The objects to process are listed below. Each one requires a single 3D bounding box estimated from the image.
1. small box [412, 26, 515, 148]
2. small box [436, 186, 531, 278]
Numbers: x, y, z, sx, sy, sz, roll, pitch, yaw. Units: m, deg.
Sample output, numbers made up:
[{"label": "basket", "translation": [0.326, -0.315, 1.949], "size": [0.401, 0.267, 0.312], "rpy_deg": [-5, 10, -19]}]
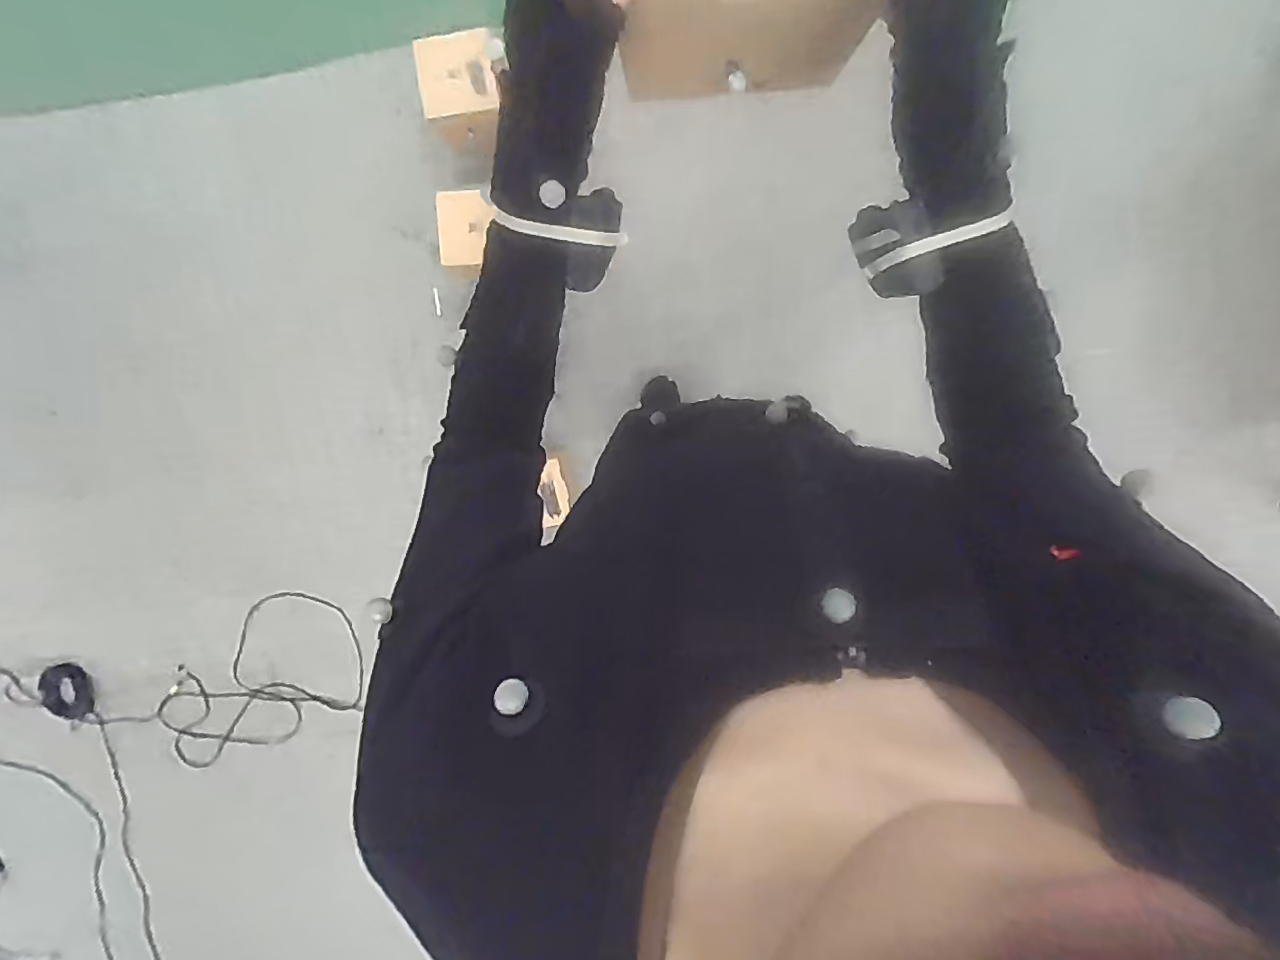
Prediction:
[{"label": "small box", "translation": [-0.403, -0.912, 1.271], "size": [0.179, 0.176, 0.168], "rpy_deg": [-6, 99, 4]}, {"label": "small box", "translation": [-0.376, -0.597, 1.321], "size": [0.179, 0.176, 0.168], "rpy_deg": [-2, 99, 2]}]
